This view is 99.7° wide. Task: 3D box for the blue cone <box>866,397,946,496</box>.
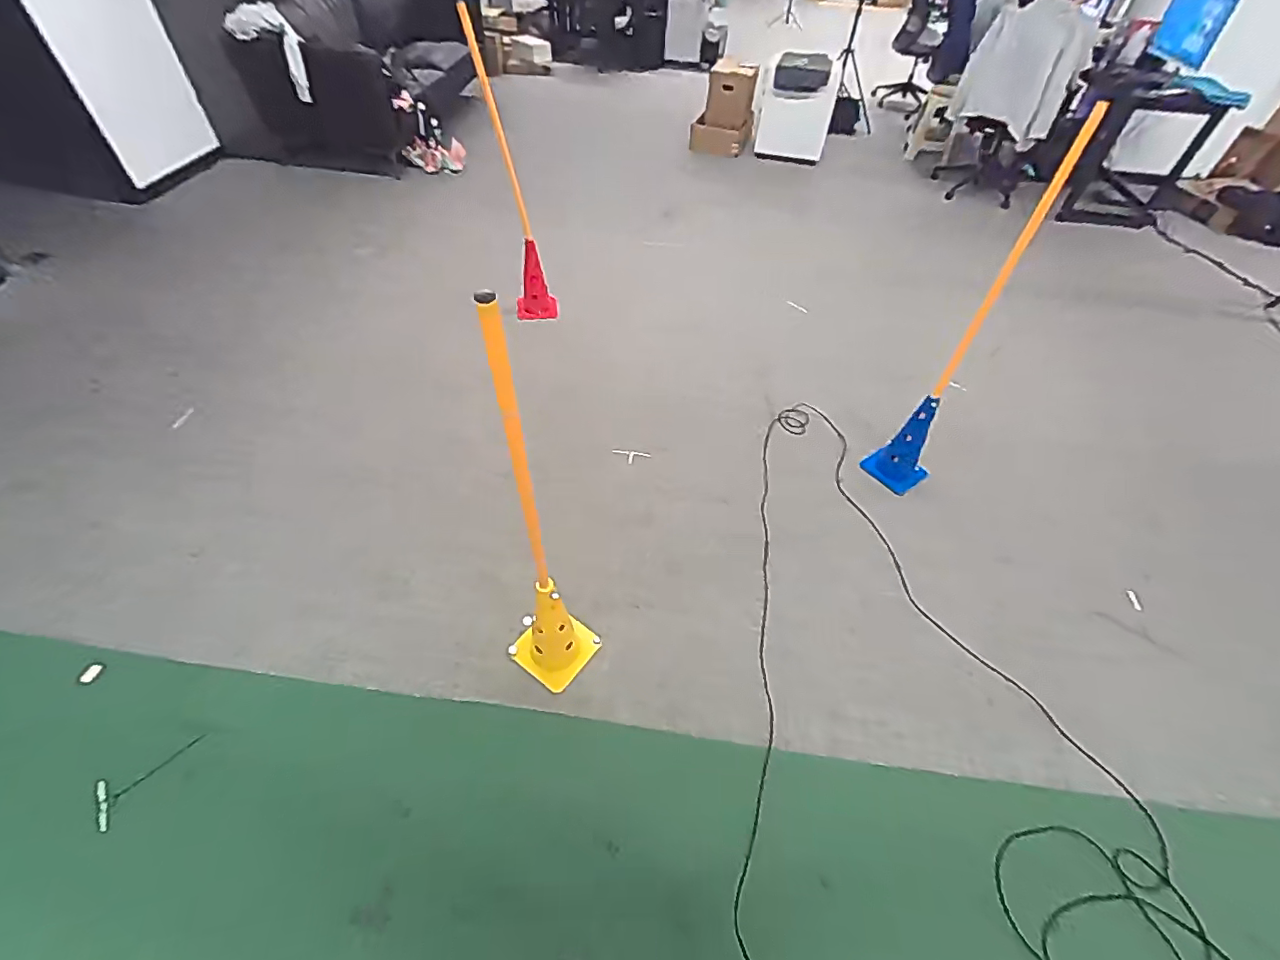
[{"bbox_3d":[0.997,-0.144,1.964,0.193,0.380,0.192,-27,54,-28],"label":"blue cone"}]
